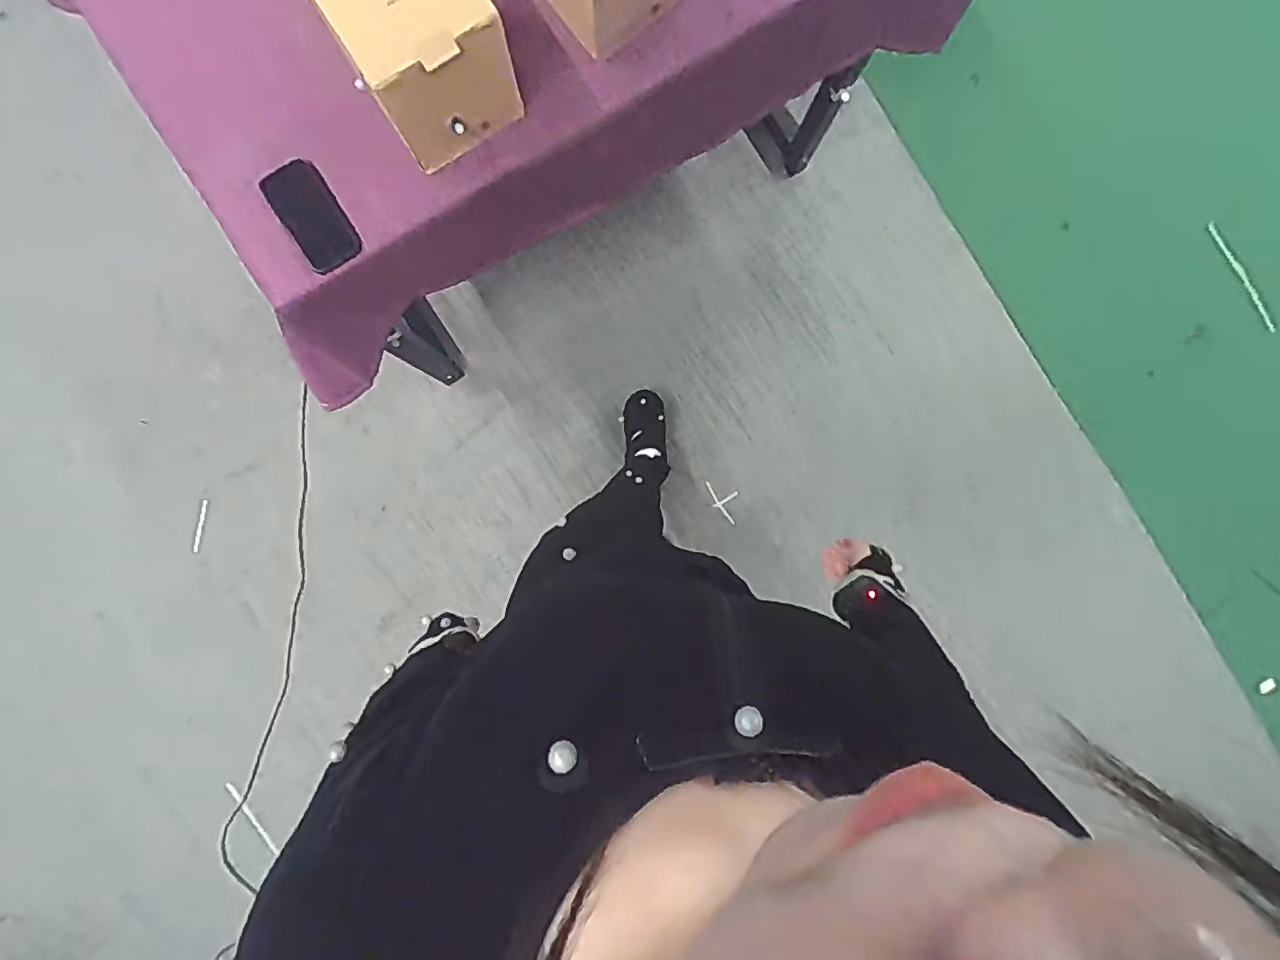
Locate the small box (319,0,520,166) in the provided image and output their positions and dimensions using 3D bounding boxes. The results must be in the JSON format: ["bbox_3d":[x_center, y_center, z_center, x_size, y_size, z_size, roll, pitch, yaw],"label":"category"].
[{"bbox_3d":[-0.276,-0.552,0.686,0.168,0.176,0.179,-33,92,-2],"label":"small box"}]
